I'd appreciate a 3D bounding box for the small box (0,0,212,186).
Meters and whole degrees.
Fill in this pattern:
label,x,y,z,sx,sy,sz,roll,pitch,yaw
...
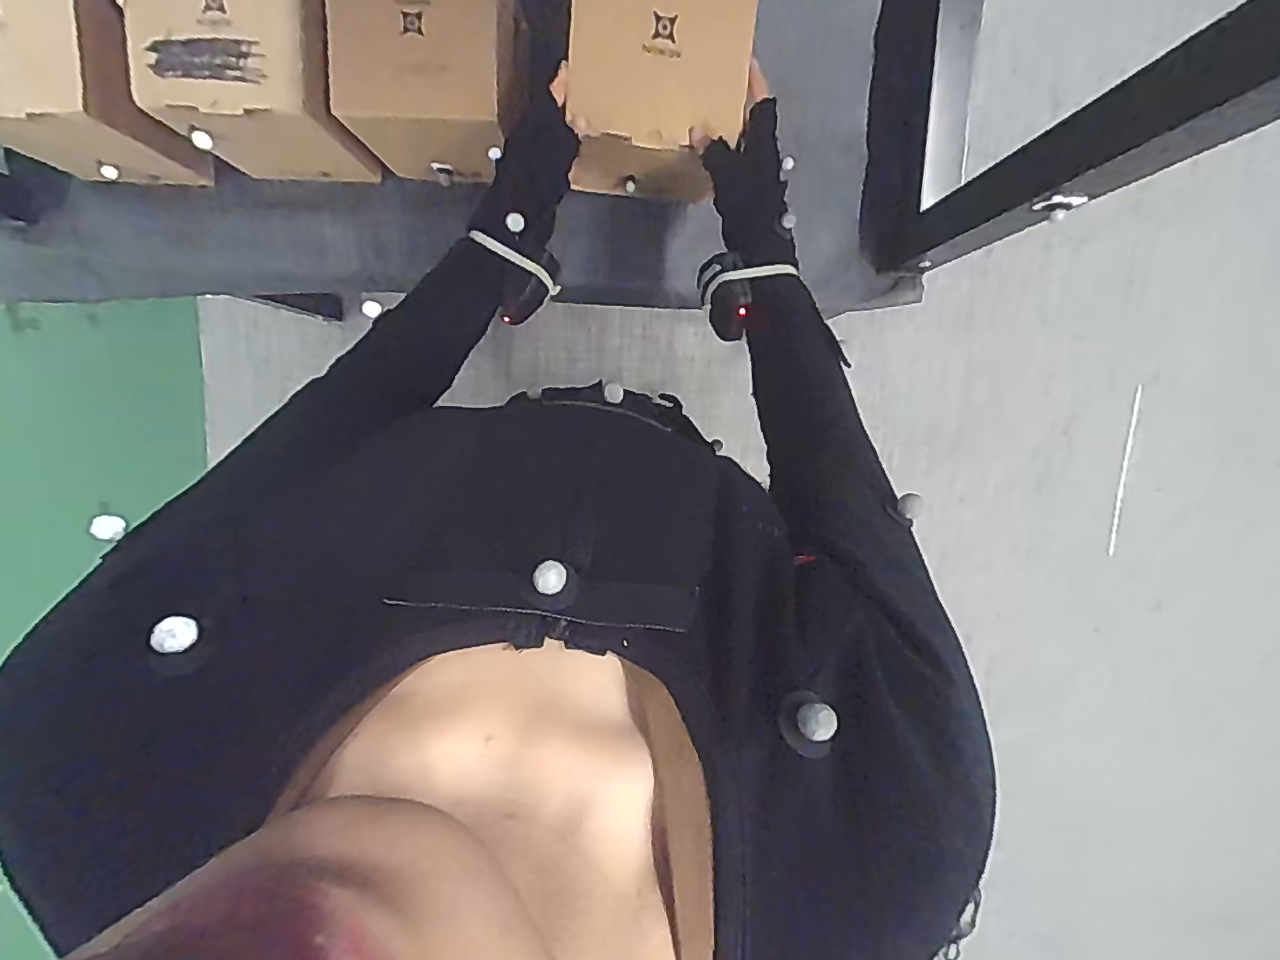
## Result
label,x,y,z,sx,sy,sz,roll,pitch,yaw
small box,-0.609,-0.448,0.585,0.168,0.176,0.179,1,98,-2

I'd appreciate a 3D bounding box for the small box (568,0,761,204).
label,x,y,z,sx,sy,sz,roll,pitch,yaw
small box,0.013,-0.410,0.556,0.168,0.176,0.179,3,102,-7
